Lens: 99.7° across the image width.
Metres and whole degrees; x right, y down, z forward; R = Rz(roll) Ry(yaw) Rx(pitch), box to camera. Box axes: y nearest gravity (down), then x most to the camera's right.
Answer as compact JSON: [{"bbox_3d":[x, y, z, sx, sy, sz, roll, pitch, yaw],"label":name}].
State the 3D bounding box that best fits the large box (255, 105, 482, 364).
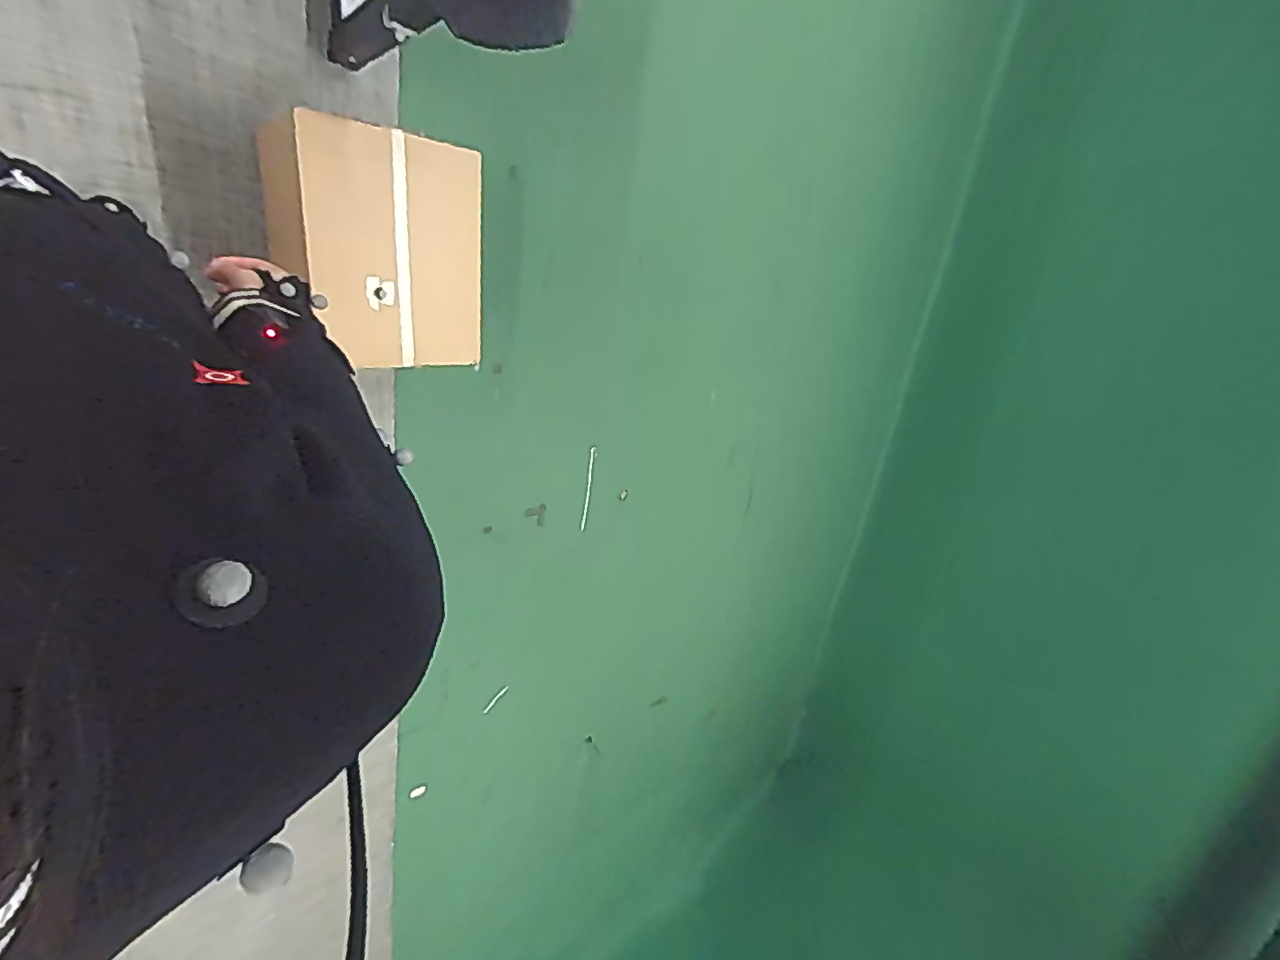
[{"bbox_3d":[-0.533,-0.468,1.088,0.320,0.320,0.408,-12,118,-41],"label":"large box"}]
